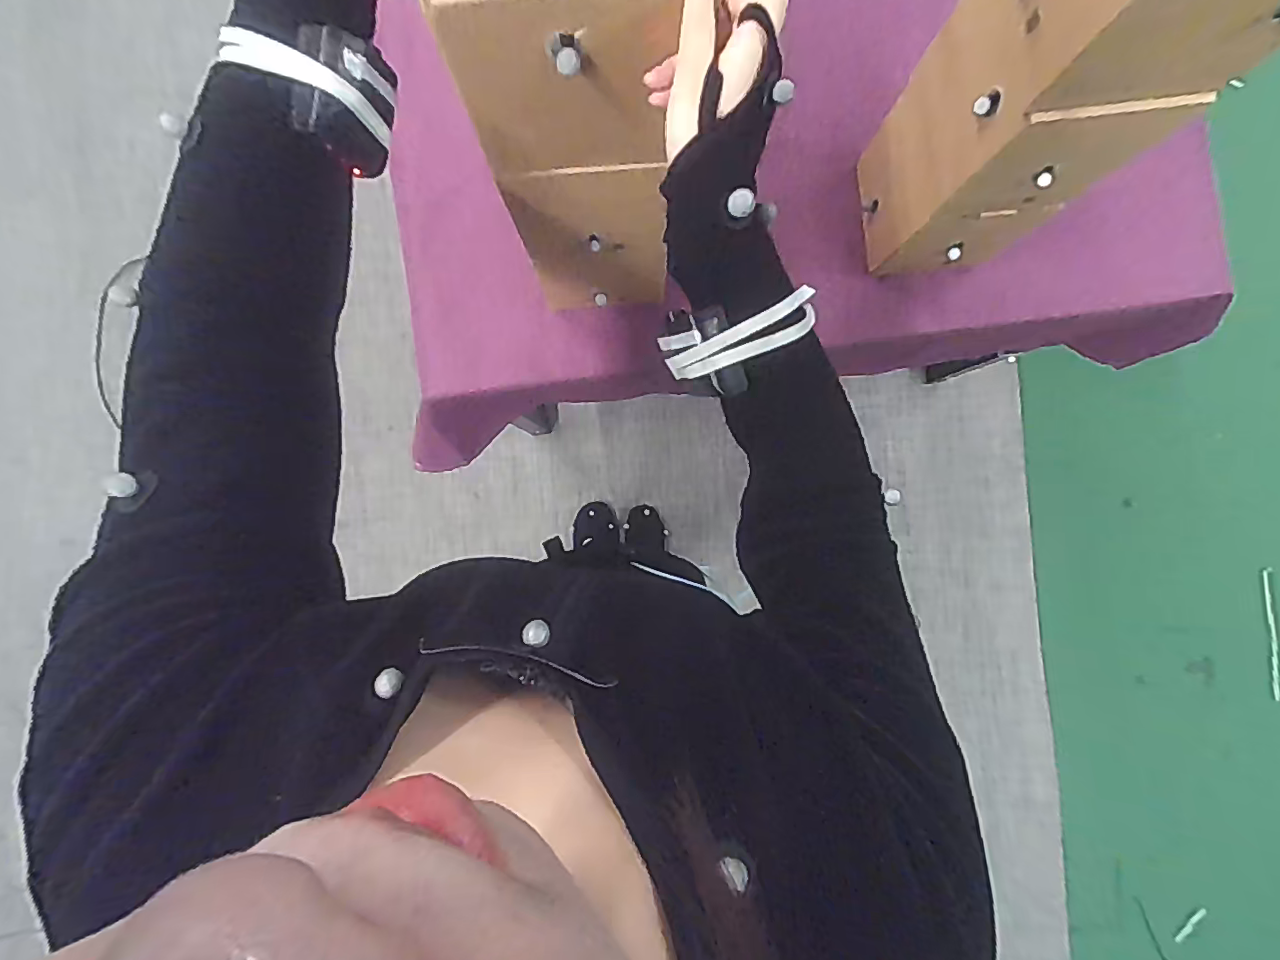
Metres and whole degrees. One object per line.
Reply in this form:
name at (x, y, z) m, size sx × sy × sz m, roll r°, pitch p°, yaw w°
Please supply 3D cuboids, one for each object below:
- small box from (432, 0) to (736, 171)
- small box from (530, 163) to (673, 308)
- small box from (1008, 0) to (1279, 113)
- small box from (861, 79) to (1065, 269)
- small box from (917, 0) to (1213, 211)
small box at (-0.036, -0.349, 0.386) m, size 0.179 × 0.176 × 0.168 m, roll -3°, pitch 90°, yaw 0°
small box at (-0.050, -0.344, 0.714) m, size 0.168 × 0.176 × 0.179 m, roll -5°, pitch 90°, yaw -1°
small box at (0.409, -0.406, 0.391) m, size 0.179 × 0.176 × 0.168 m, roll -6°, pitch 88°, yaw 0°
small box at (0.414, -0.396, 0.719) m, size 0.168 × 0.176 × 0.179 m, roll -6°, pitch 90°, yaw -1°
small box at (0.412, -0.399, 0.554) m, size 0.168 × 0.176 × 0.179 m, roll -6°, pitch 89°, yaw -1°
